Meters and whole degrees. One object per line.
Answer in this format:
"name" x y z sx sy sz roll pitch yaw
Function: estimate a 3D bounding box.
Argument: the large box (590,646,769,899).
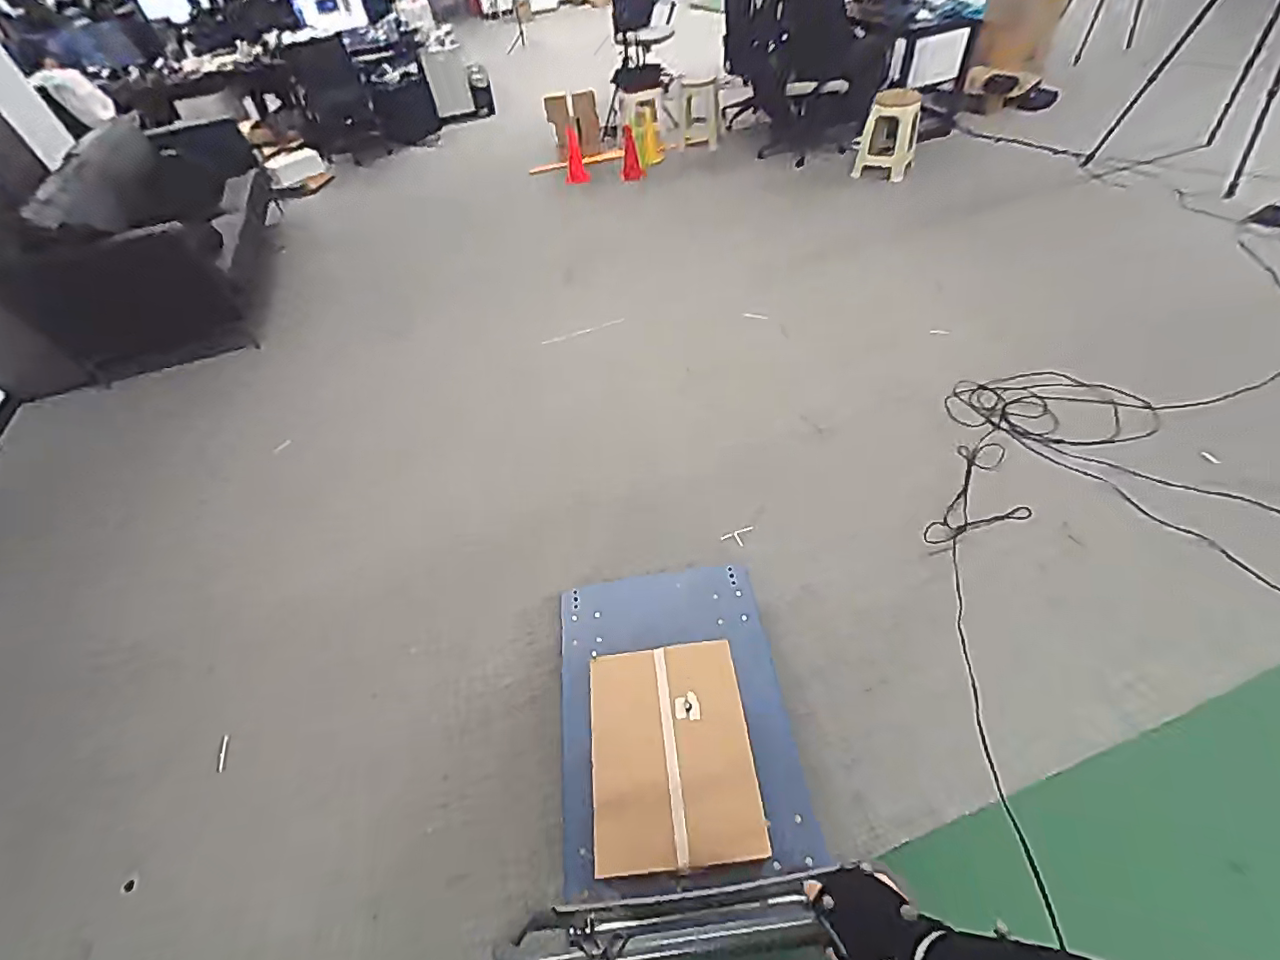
"large box" 0.074 0.635 1.184 0.320 0.320 0.408 -7 47 1
